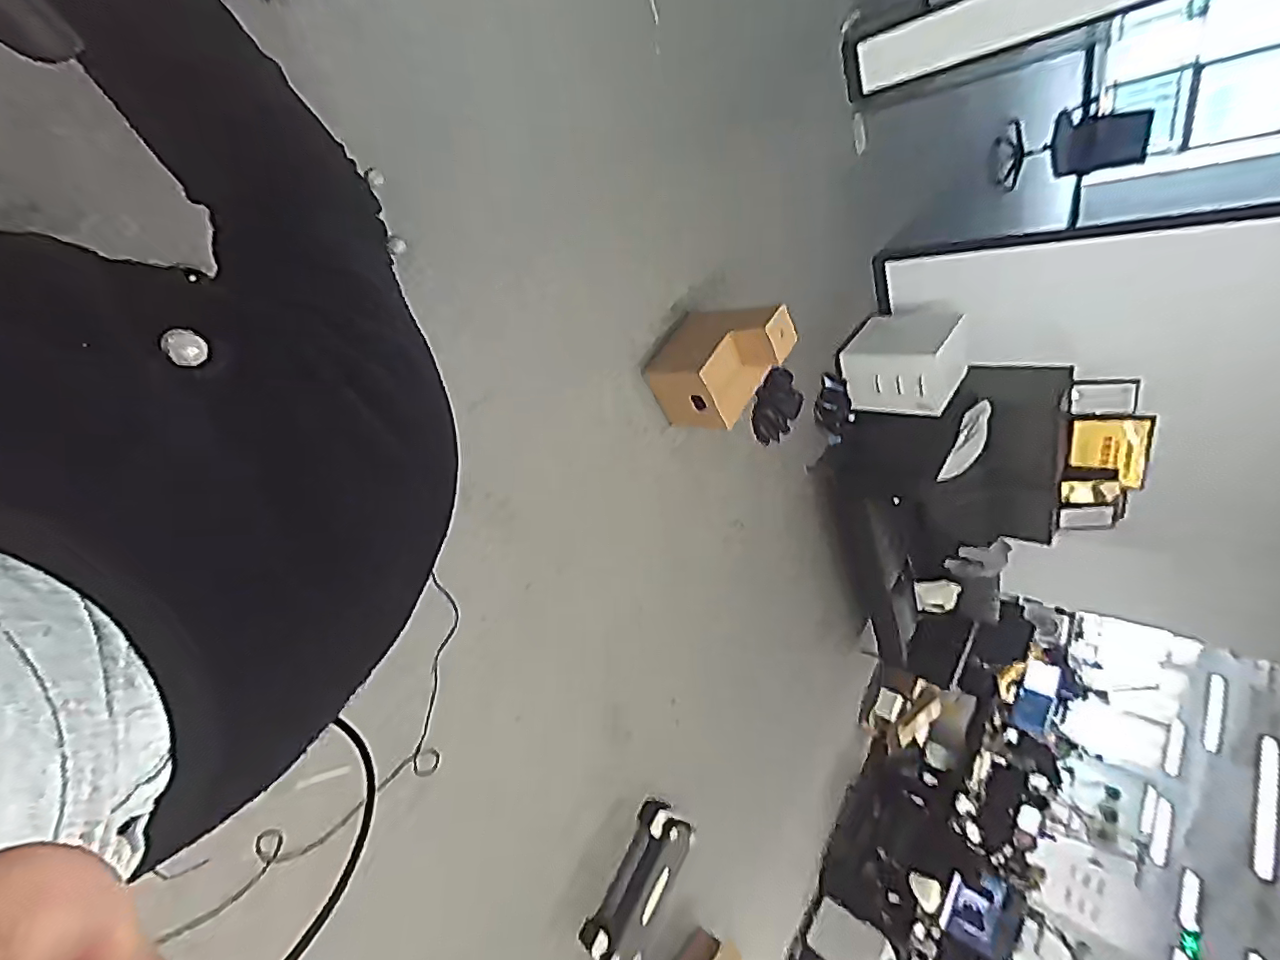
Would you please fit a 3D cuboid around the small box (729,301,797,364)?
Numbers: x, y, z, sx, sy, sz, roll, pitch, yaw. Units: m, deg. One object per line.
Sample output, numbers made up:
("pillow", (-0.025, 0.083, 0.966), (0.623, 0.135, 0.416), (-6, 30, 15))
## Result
("small box", (0.479, -0.572, 2.112), (0.168, 0.176, 0.179), (-54, 127, -25))
